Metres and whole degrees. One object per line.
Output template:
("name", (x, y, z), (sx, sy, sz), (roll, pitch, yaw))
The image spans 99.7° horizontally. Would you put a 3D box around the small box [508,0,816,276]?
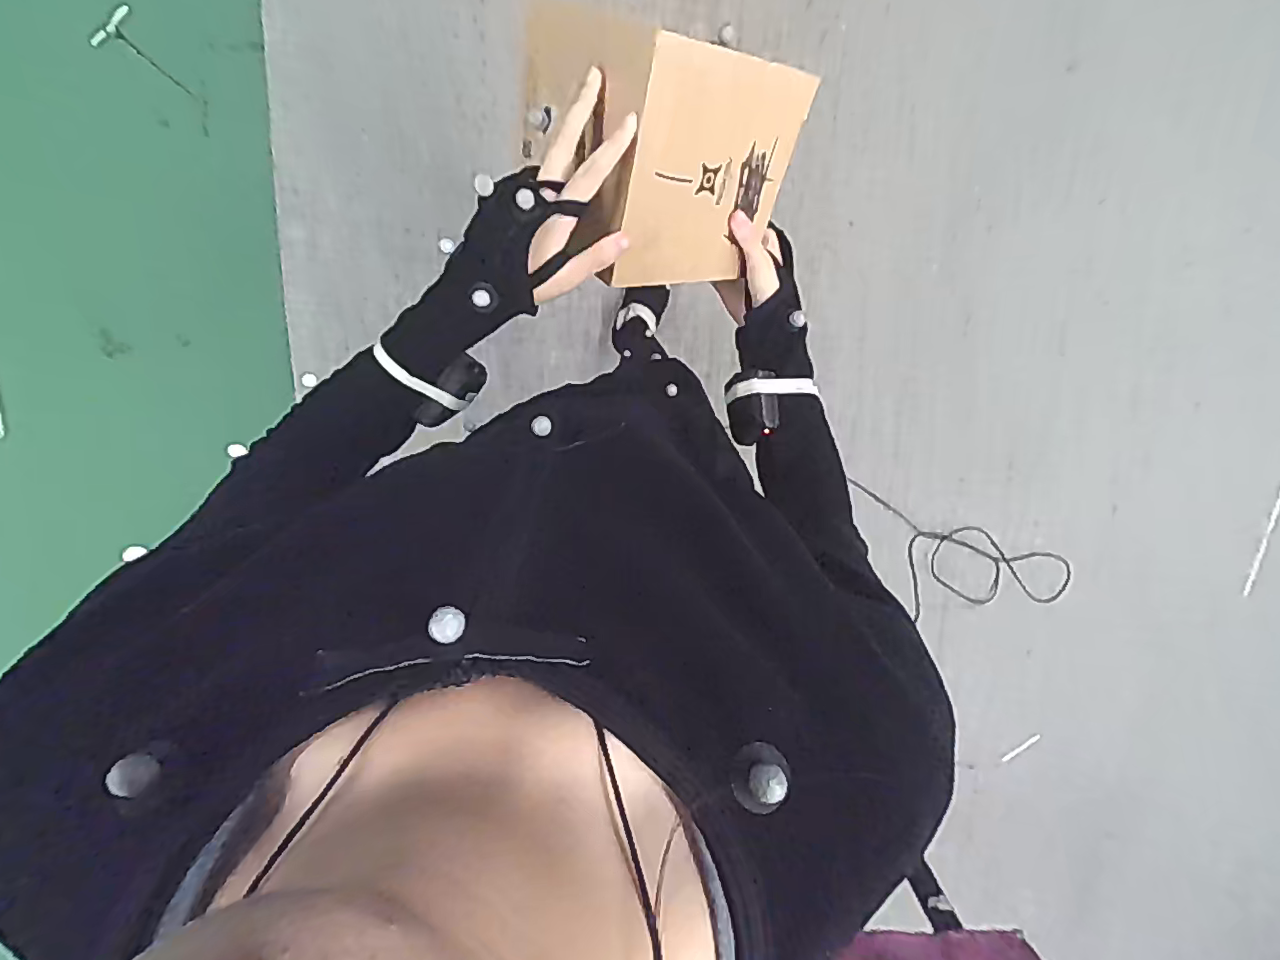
("small box", (0.008, -0.294, 0.470), (0.179, 0.176, 0.168), (-17, 140, -35))
